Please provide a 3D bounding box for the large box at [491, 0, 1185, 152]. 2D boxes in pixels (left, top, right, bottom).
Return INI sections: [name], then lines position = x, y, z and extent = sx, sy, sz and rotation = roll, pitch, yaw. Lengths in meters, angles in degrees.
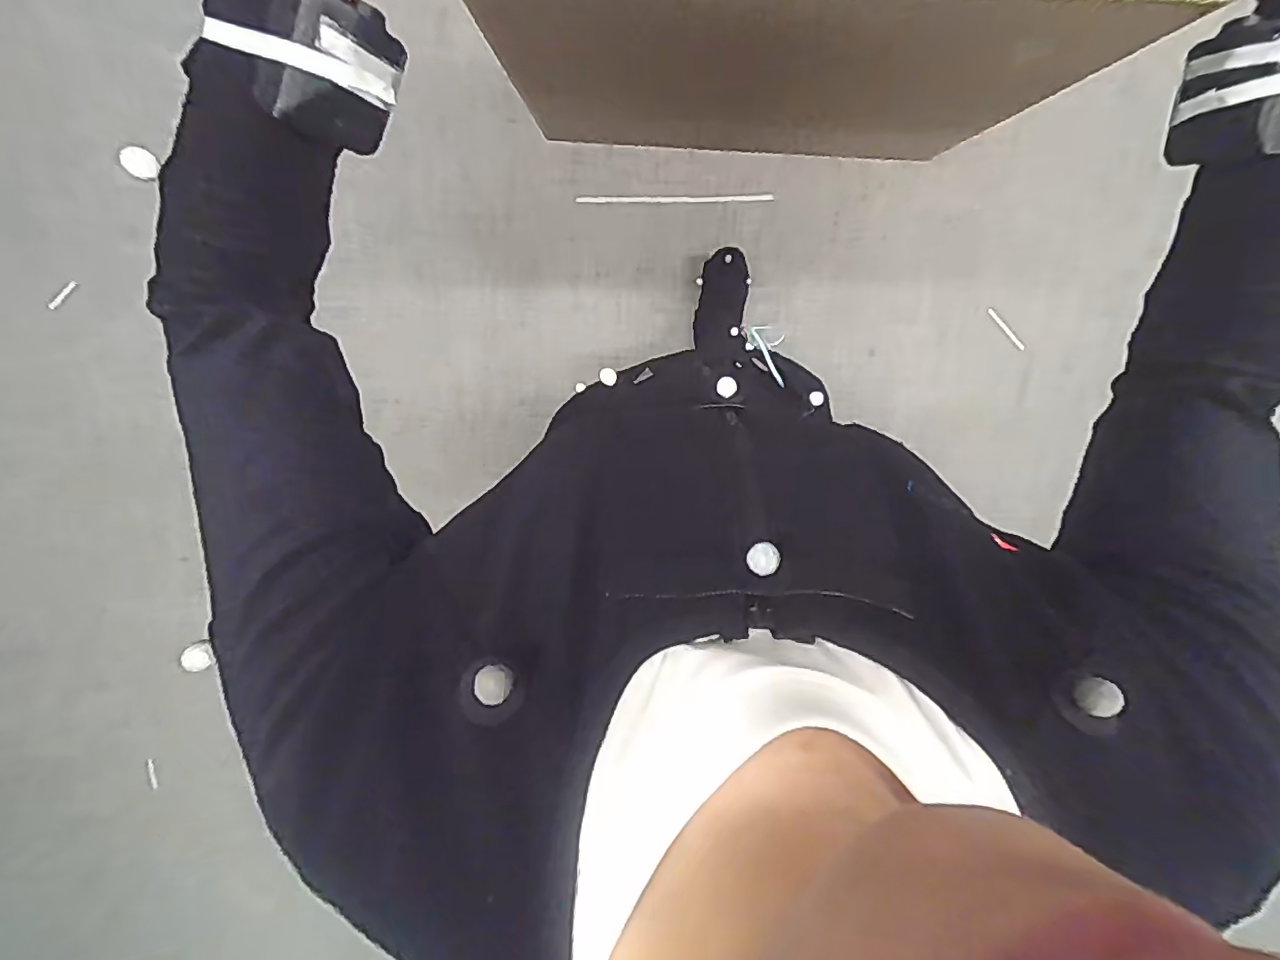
[large box]
position = 0.109, -0.450, 0.381
extent = 0.408, 0.320, 0.320
rotation = 2, 108, -1
